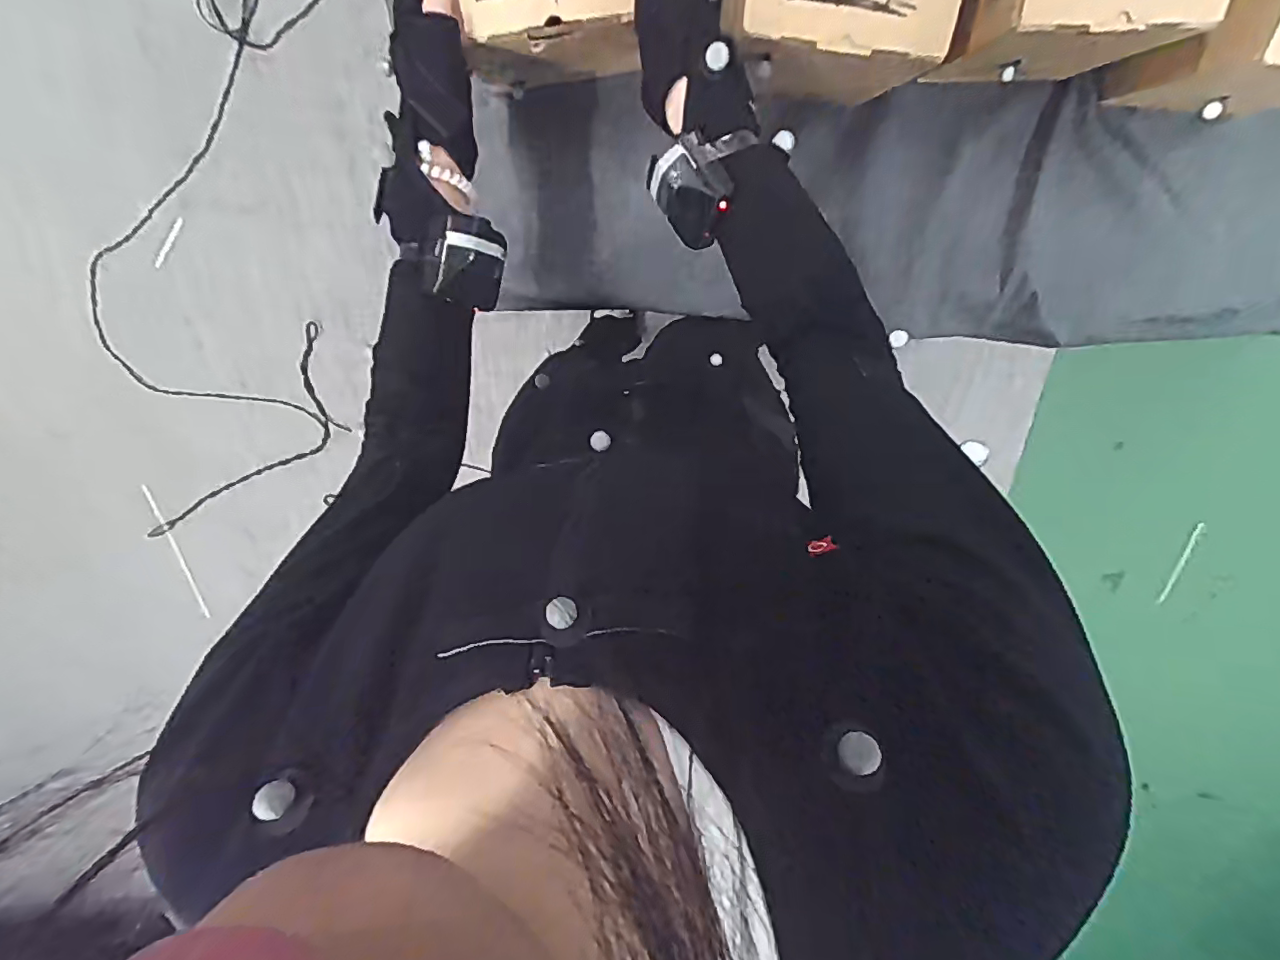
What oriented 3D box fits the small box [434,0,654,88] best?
[{"bbox_3d":[-0.082,-0.448,0.446,0.168,0.176,0.179,-9,115,0],"label":"small box"}]
